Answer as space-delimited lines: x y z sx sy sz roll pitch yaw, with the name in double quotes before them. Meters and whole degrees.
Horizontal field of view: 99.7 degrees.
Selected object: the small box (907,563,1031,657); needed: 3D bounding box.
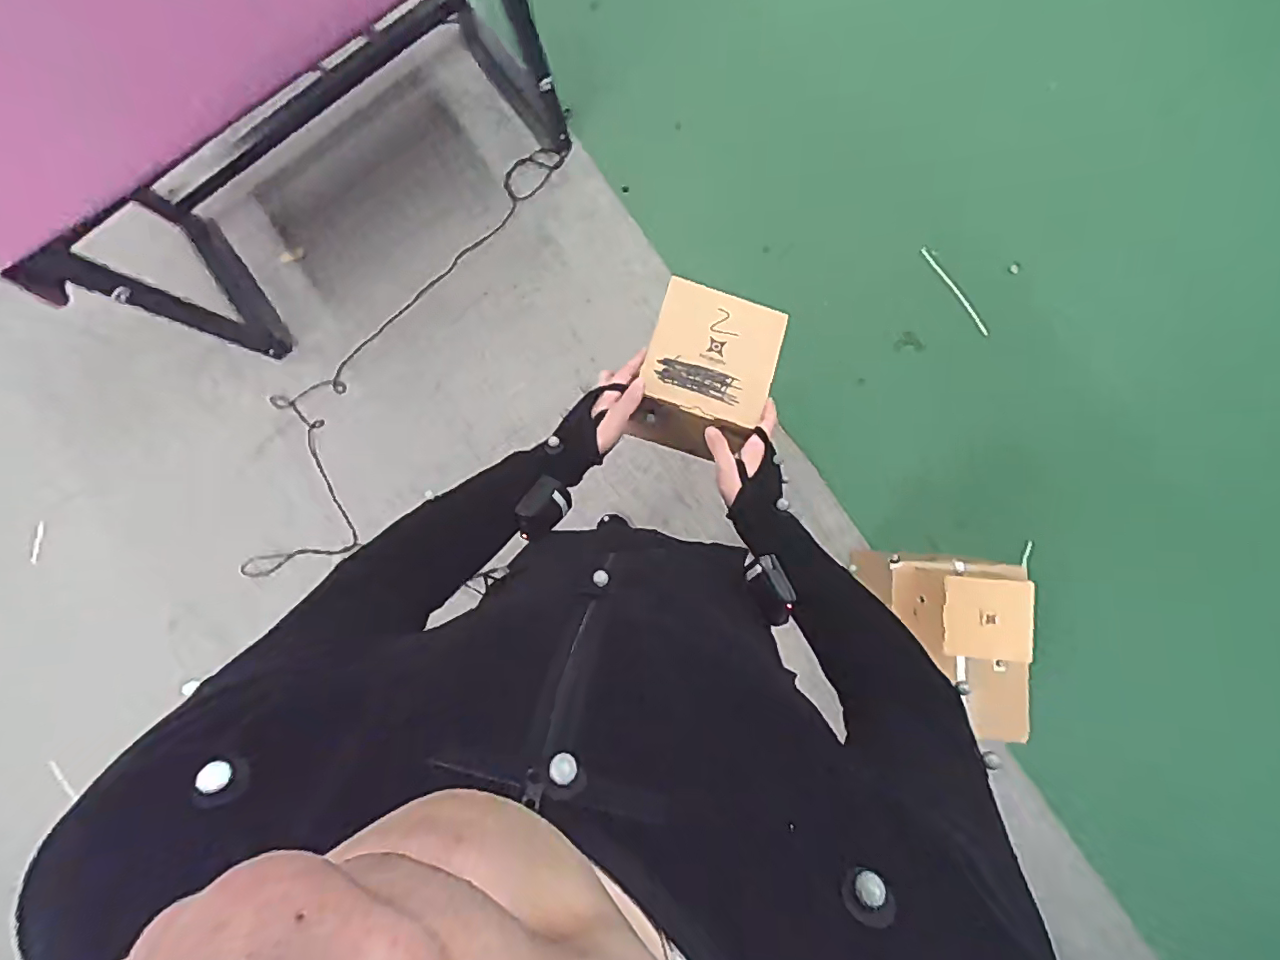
"small box" 0.718 0.278 1.194 0.179 0.176 0.168 3 89 6
